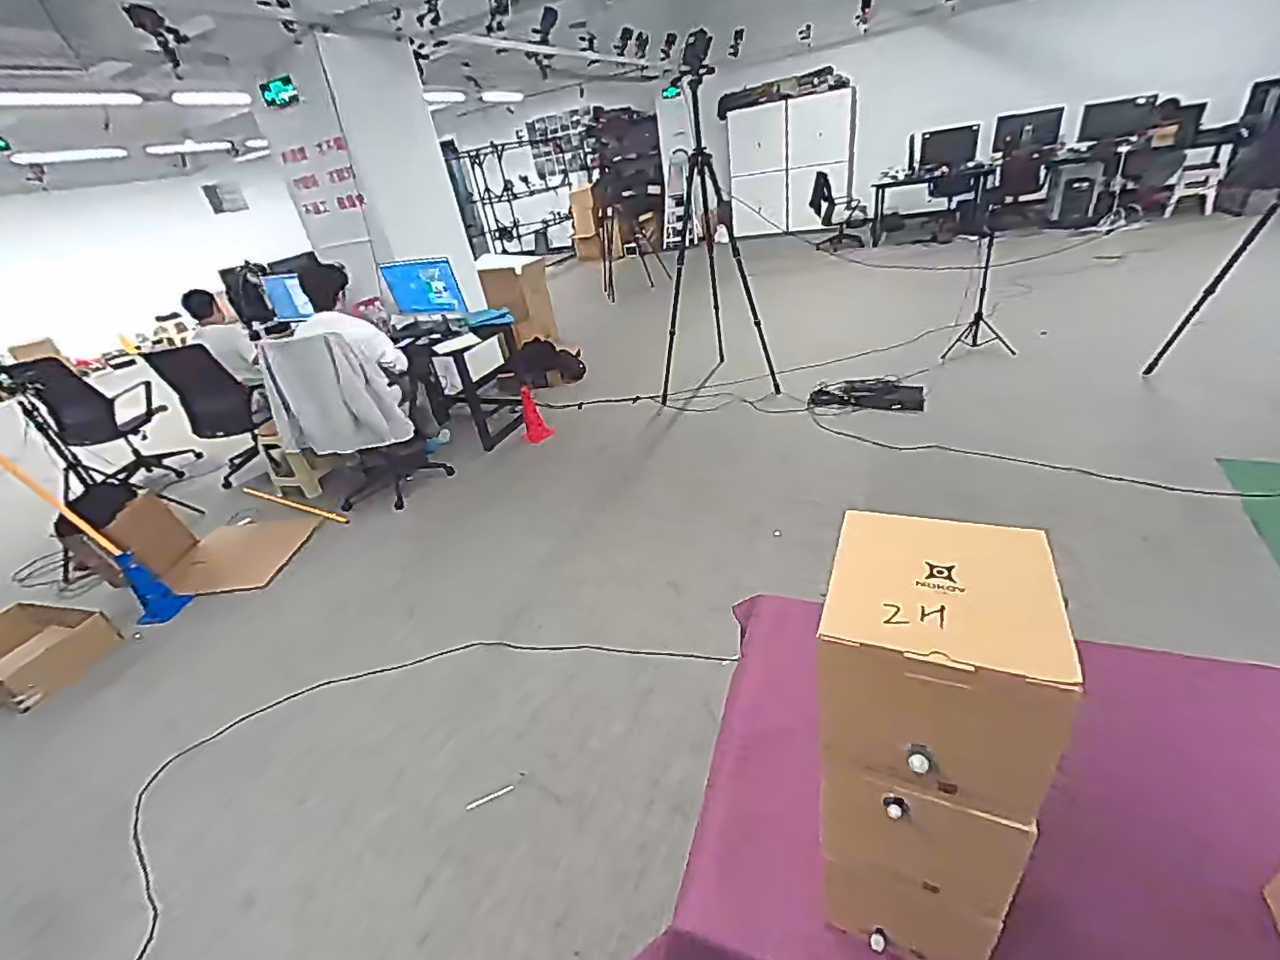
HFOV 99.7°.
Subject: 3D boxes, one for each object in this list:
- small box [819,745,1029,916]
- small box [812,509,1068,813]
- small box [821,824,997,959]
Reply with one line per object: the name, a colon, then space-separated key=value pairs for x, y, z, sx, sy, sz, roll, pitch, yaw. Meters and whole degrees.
small box: x=0.287 y=0.292 z=0.564 sx=0.168 sy=0.176 sz=0.179 roll=5 pitch=33 yaw=28
small box: x=0.254 y=0.150 z=0.488 sx=0.168 sy=0.176 sz=0.179 roll=5 pitch=34 yaw=26
small box: x=0.316 y=0.432 z=0.648 sx=0.168 sy=0.176 sz=0.179 roll=6 pitch=35 yaw=28
